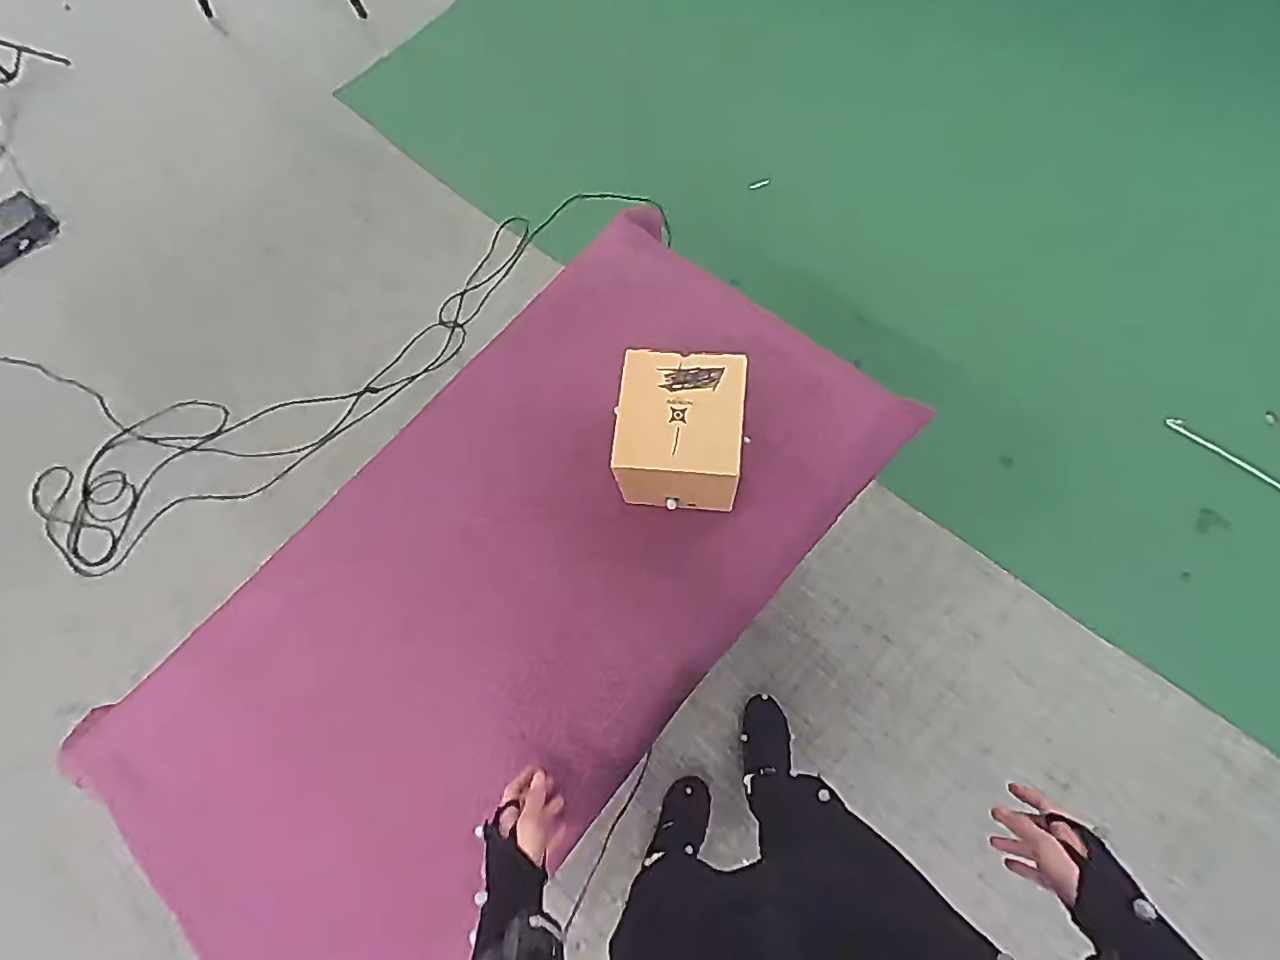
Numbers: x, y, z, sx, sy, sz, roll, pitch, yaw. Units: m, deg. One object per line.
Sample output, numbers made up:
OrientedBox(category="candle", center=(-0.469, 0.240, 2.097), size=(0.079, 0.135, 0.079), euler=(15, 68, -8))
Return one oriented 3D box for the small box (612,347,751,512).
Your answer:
OrientedBox(category="small box", center=(0.062, -0.067, 0.774), size=(0.168, 0.176, 0.179), euler=(5, 73, 8))
